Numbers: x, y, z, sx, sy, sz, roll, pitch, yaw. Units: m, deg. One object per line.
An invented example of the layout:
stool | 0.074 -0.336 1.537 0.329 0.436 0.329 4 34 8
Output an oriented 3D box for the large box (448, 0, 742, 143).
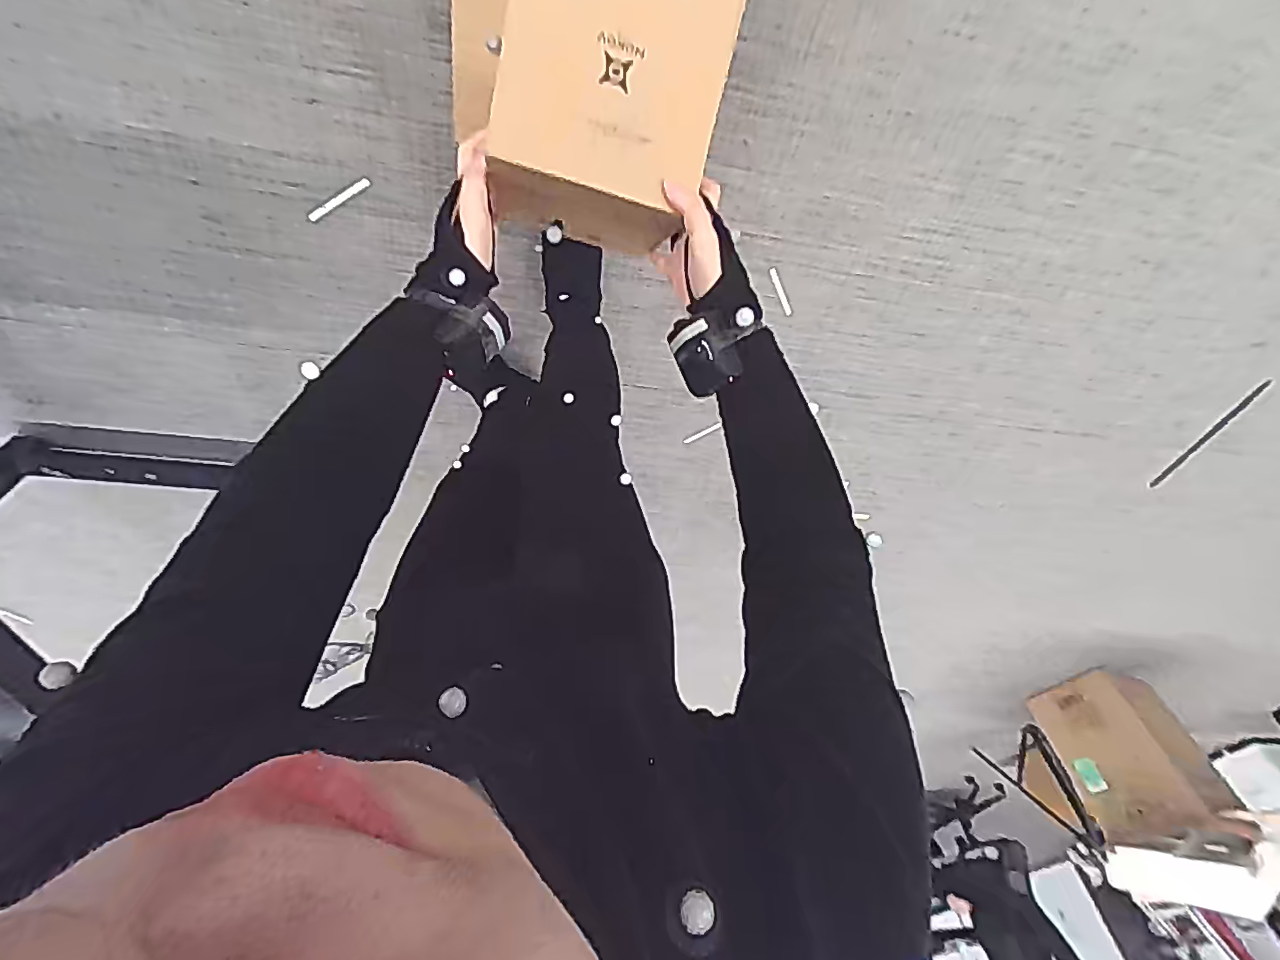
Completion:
large box | -0.047 -0.645 0.658 0.320 0.320 0.408 5 132 -12

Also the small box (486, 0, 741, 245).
small box | -0.034 -0.329 0.467 0.168 0.176 0.179 10 99 -15
